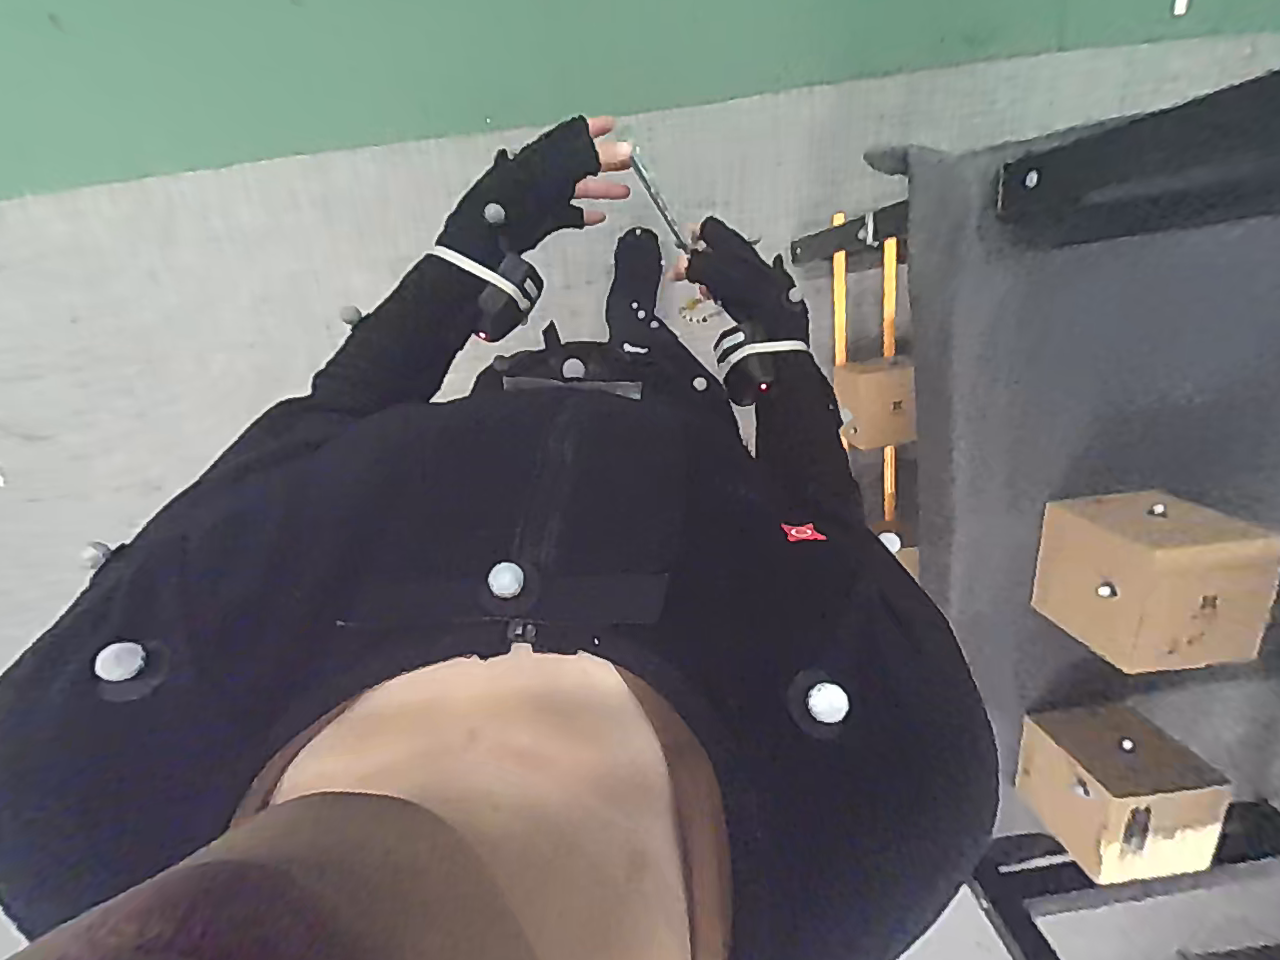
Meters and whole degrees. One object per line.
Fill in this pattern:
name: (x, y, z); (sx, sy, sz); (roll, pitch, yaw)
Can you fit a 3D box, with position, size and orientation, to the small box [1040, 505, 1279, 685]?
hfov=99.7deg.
small box: (0.679, 0.140, 0.721); (0.168, 0.176, 0.179); (-6, 107, -1)
